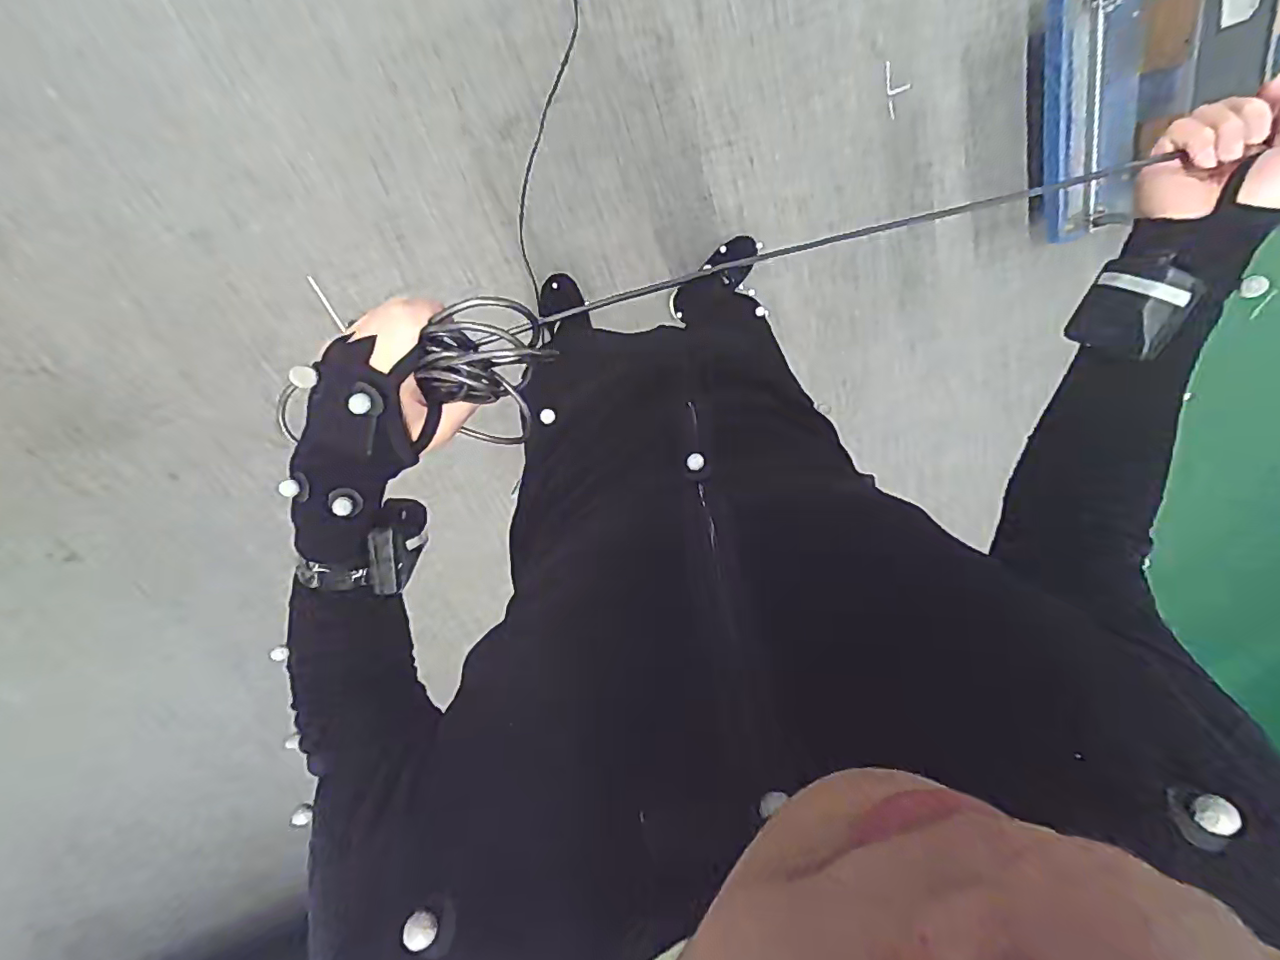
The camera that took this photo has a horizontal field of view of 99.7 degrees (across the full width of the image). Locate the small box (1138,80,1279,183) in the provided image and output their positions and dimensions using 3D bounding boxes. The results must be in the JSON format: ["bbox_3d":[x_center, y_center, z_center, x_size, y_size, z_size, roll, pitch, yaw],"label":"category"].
[{"bbox_3d":[1.390,-0.846,1.324,0.179,0.176,0.168,-21,118,0],"label":"small box"}]

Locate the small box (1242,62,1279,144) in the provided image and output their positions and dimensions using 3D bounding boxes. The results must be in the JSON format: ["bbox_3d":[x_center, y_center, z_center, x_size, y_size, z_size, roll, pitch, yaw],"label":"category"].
[{"bbox_3d":[1.640,-0.949,1.327,0.179,0.176,0.168,-25,117,2],"label":"small box"}]
